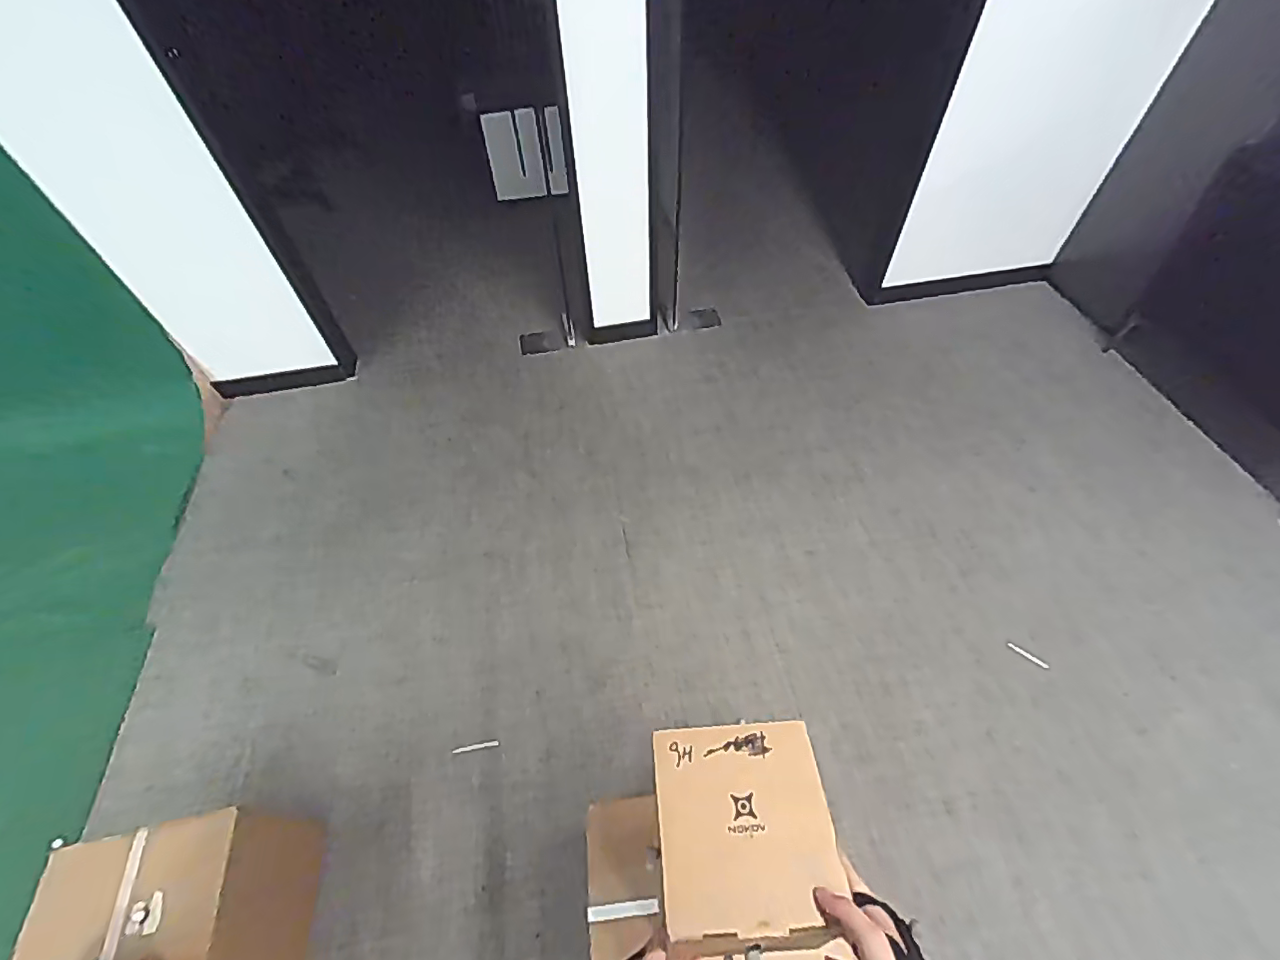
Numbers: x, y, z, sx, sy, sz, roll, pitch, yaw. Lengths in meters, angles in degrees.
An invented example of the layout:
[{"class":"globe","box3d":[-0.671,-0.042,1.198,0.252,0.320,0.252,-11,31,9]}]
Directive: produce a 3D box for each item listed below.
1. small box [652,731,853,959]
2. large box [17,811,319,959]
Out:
[{"class":"small box","box3d":[0.101,0.388,0.571,0.168,0.176,0.179,-3,46,-1]},{"class":"large box","box3d":[-0.826,0.871,0.958,0.320,0.320,0.408,-10,52,-6]}]
